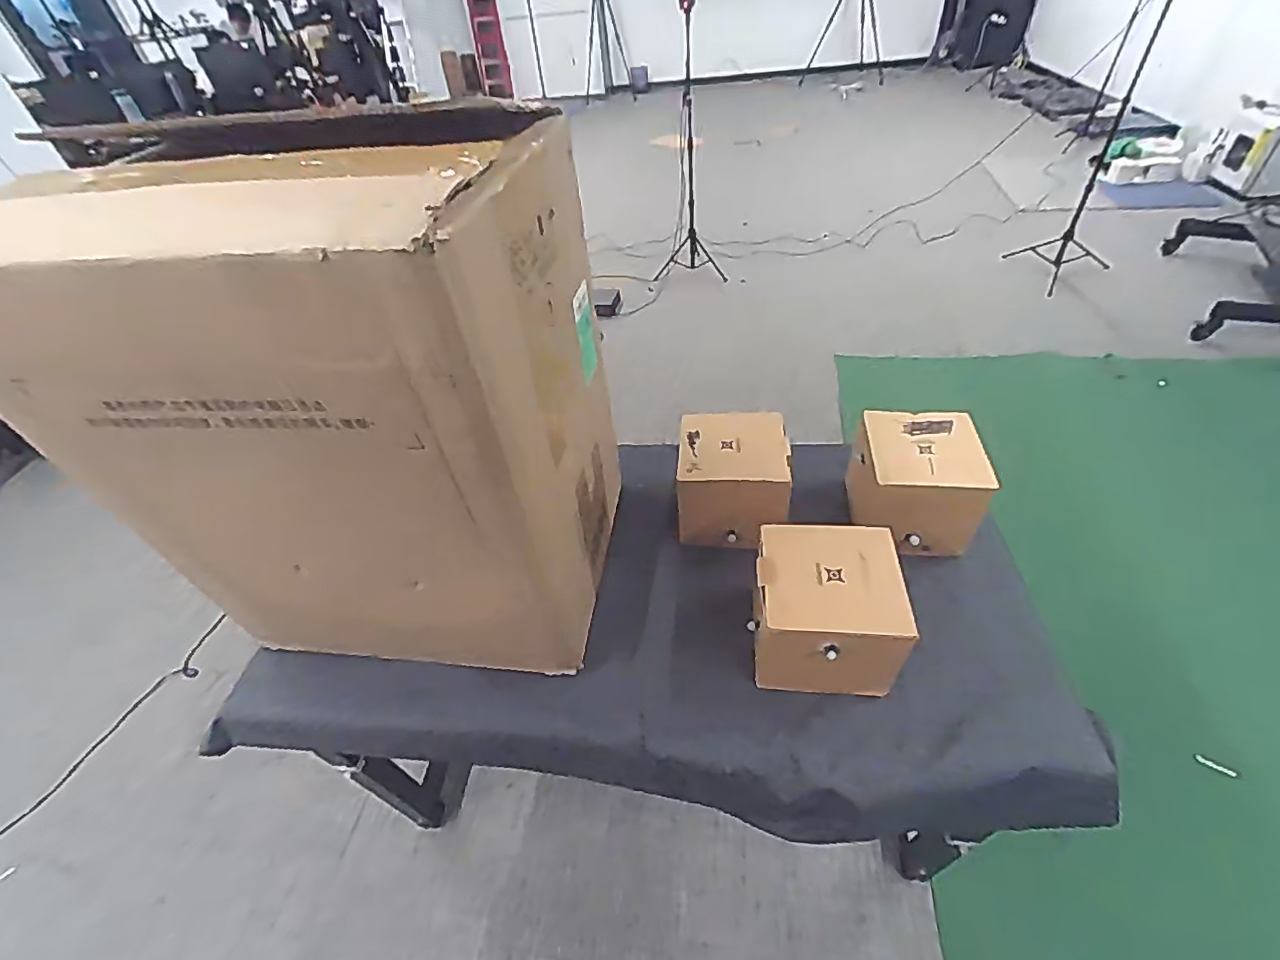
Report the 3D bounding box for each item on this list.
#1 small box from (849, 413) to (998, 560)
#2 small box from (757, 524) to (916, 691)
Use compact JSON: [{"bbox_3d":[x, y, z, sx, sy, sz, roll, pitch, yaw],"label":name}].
[{"bbox_3d":[0.455,0.009,0.903,0.168,0.176,0.179,2,46,10],"label":"small box"},{"bbox_3d":[0.257,0.179,0.757,0.179,0.176,0.168,2,46,8],"label":"small box"}]
